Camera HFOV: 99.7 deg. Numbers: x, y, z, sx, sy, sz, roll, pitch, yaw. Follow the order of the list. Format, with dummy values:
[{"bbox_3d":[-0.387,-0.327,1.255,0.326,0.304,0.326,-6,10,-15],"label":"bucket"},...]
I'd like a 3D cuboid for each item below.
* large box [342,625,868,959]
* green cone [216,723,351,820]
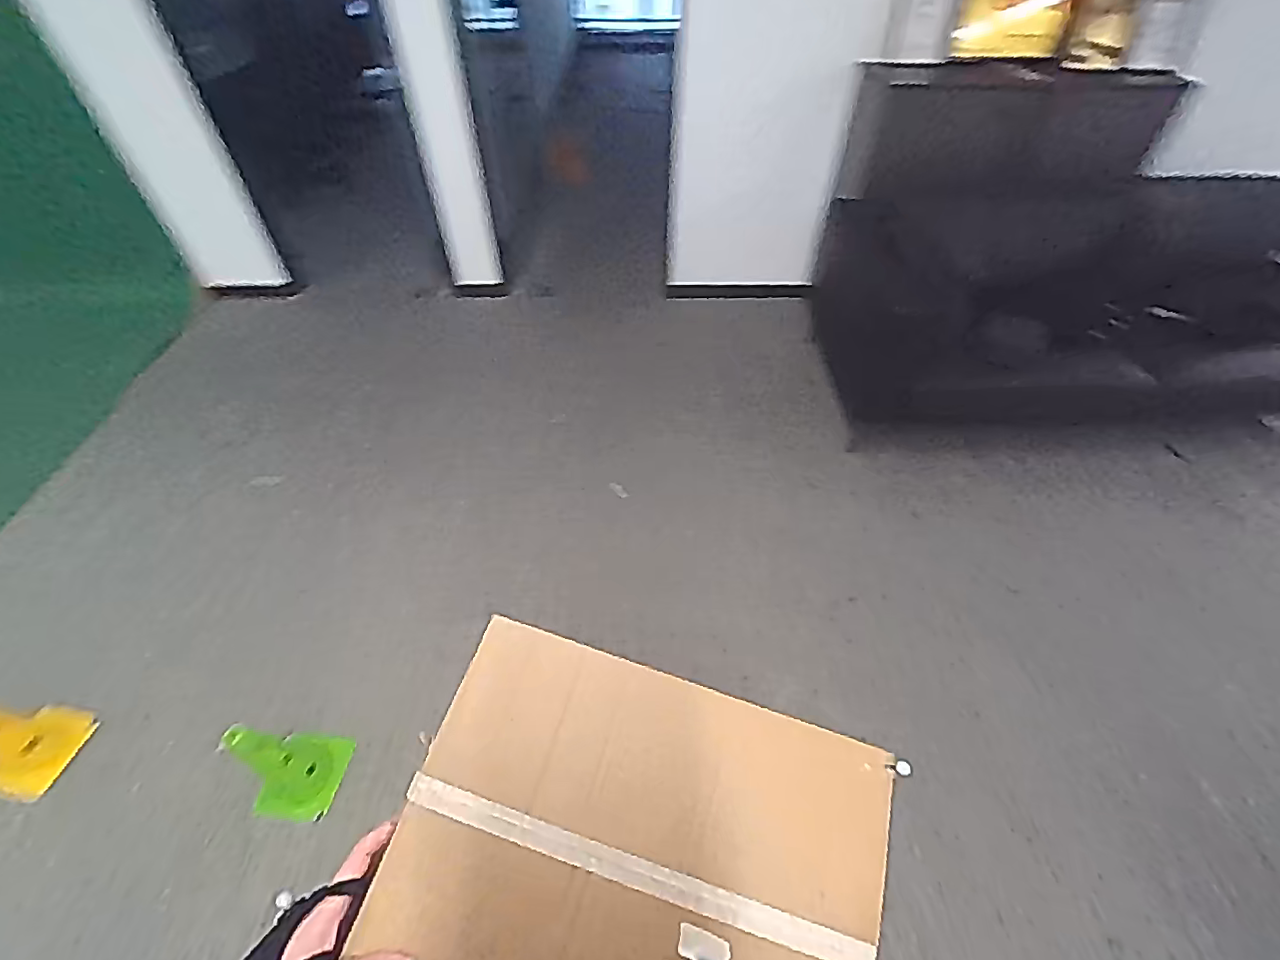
[{"bbox_3d":[-0.023,0.393,0.594,0.408,0.320,0.320,17,63,4],"label":"large box"},{"bbox_3d":[-0.908,0.673,1.326,0.202,0.368,0.200,4,47,5],"label":"green cone"}]
